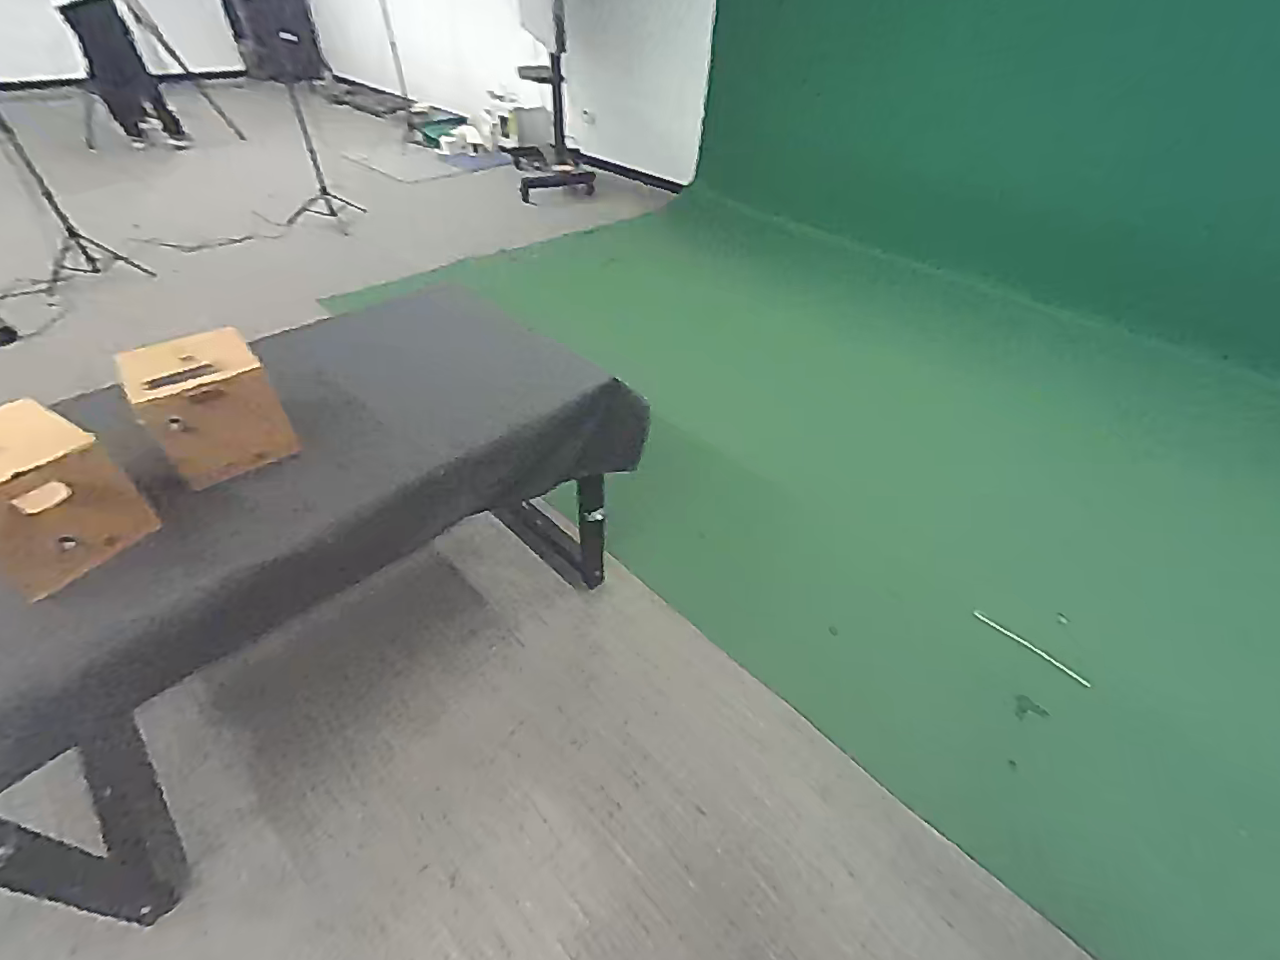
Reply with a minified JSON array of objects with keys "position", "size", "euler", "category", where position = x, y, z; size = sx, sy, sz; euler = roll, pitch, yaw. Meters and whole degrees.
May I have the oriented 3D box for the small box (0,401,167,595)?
[{"position":[-0.807,0.025,0.727],"size":[0.179,0.176,0.168],"euler":[23,45,19],"category":"small box"}]
